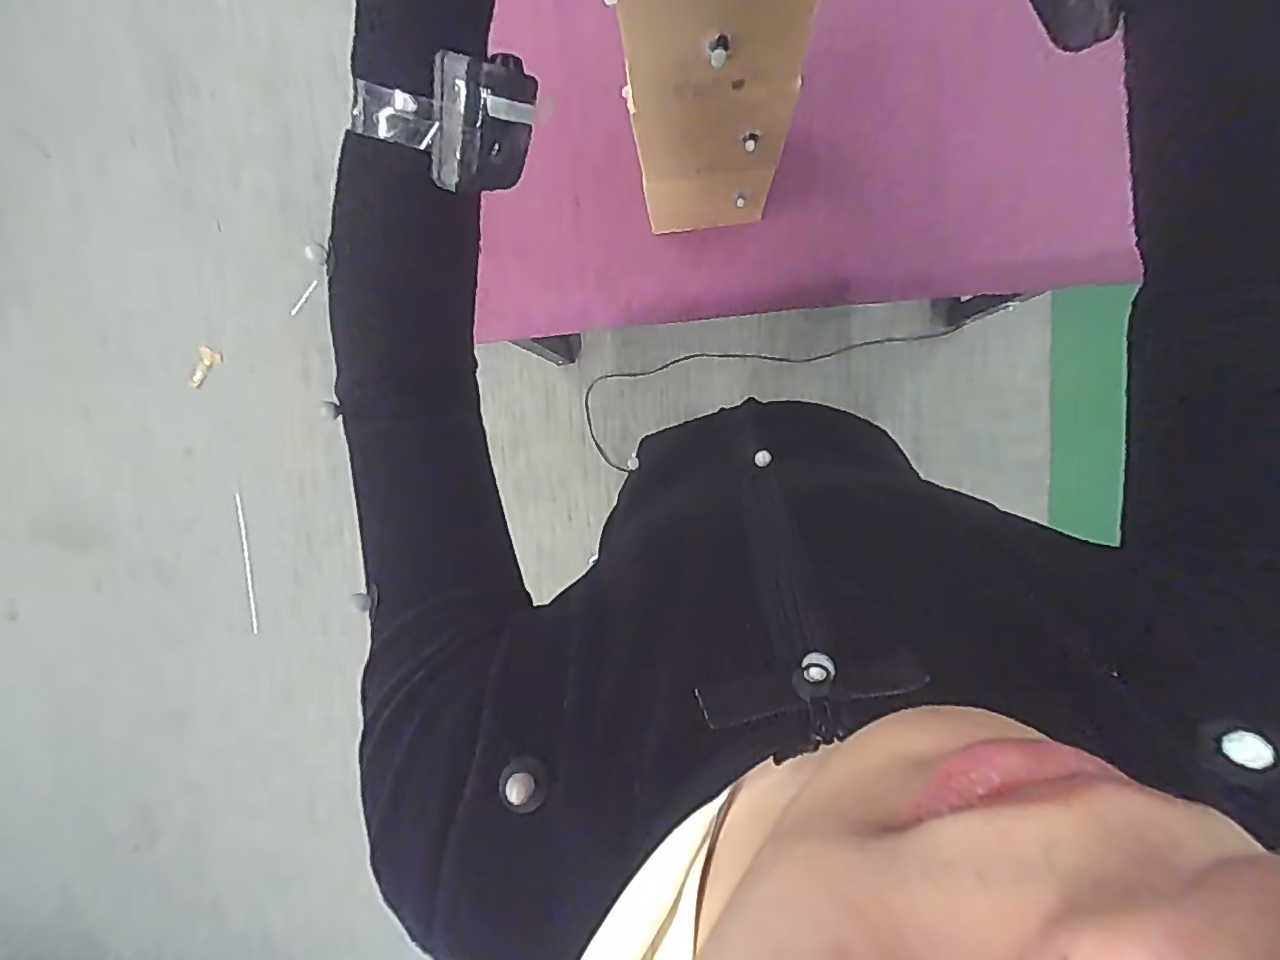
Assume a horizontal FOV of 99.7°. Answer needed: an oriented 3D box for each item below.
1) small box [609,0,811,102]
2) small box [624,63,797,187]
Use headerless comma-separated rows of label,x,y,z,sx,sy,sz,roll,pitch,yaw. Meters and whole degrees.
small box,0.057,-0.462,0.464,0.168,0.176,0.179,-5,94,6
small box,0.075,-0.467,0.626,0.179,0.176,0.168,-4,93,7
